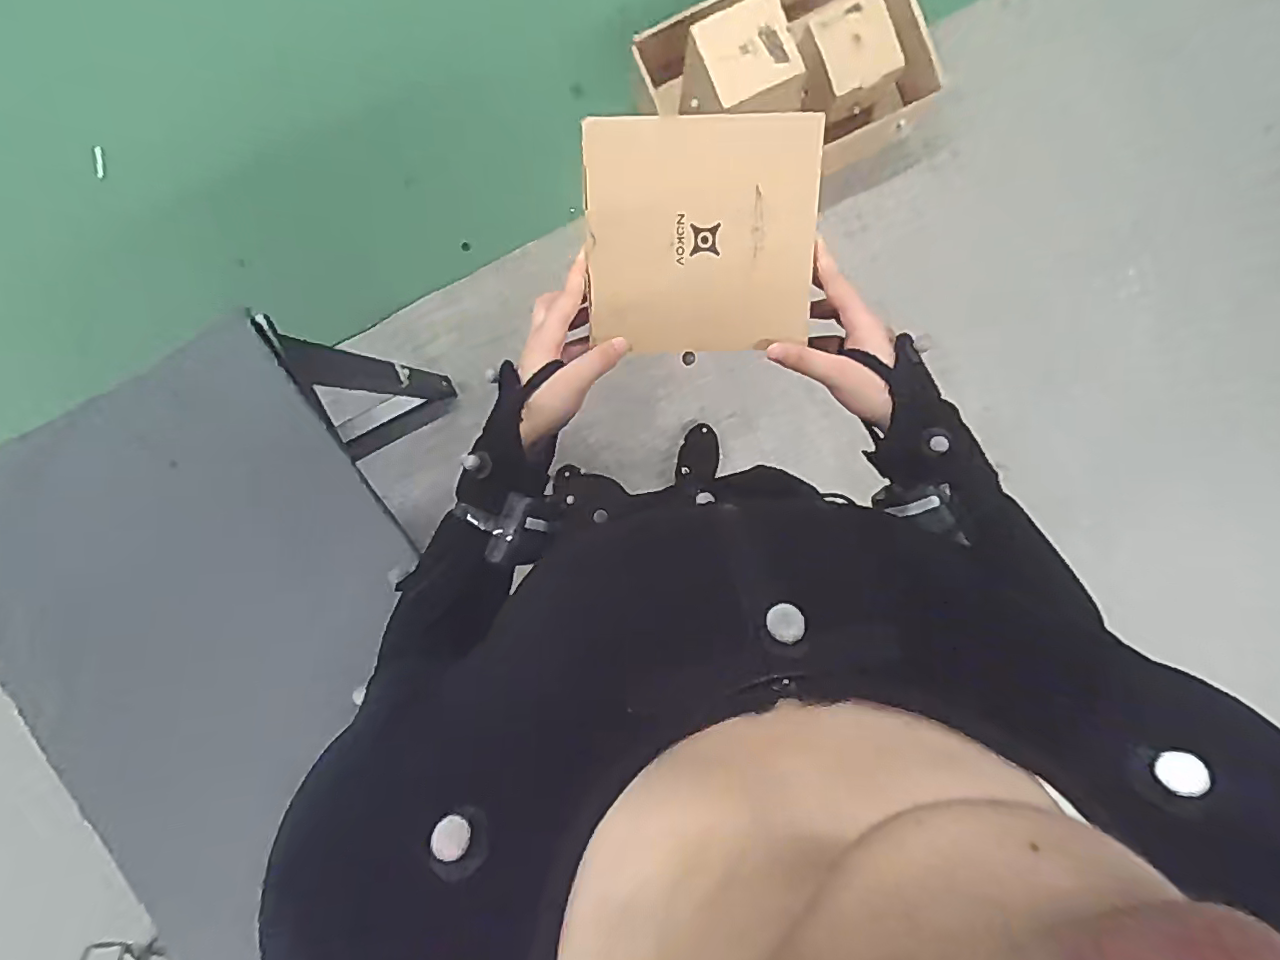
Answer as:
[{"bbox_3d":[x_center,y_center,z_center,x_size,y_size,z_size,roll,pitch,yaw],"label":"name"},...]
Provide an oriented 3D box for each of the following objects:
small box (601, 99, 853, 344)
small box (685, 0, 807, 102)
[{"bbox_3d":[0.063,-0.207,0.473,0.179,0.176,0.168,-1,108,1],"label":"small box"},{"bbox_3d":[0.206,-0.825,1.094,0.179,0.176,0.168,-24,95,2],"label":"small box"}]
